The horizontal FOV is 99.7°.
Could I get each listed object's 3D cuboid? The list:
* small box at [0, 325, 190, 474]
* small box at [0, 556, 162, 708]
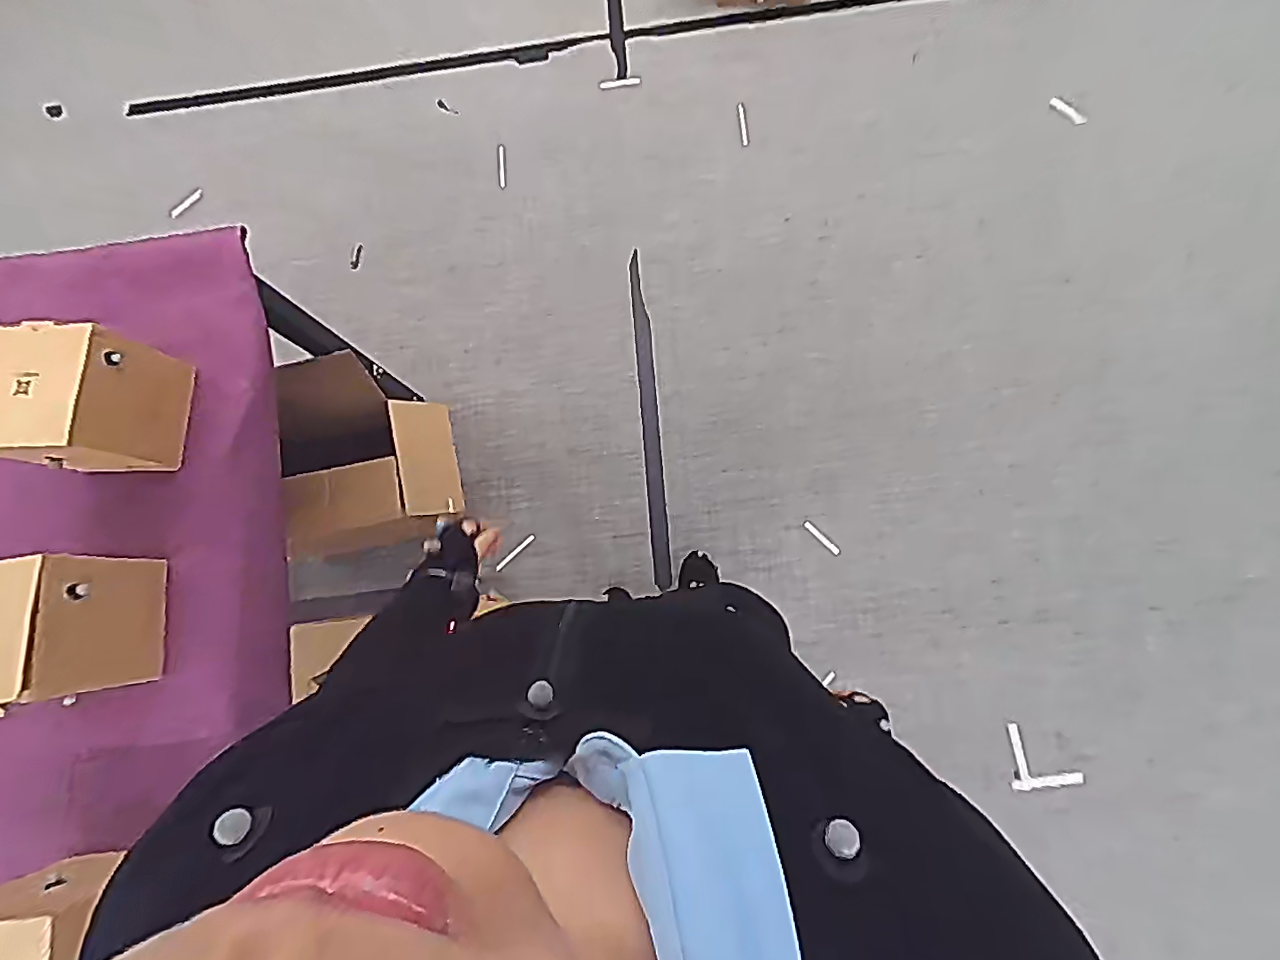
[{"bbox_3d":[-0.813,-0.107,0.792,0.168,0.176,0.179,-1,78,3],"label":"small box"},{"bbox_3d":[-0.796,0.205,0.726,0.168,0.176,0.179,-9,78,4],"label":"small box"}]
